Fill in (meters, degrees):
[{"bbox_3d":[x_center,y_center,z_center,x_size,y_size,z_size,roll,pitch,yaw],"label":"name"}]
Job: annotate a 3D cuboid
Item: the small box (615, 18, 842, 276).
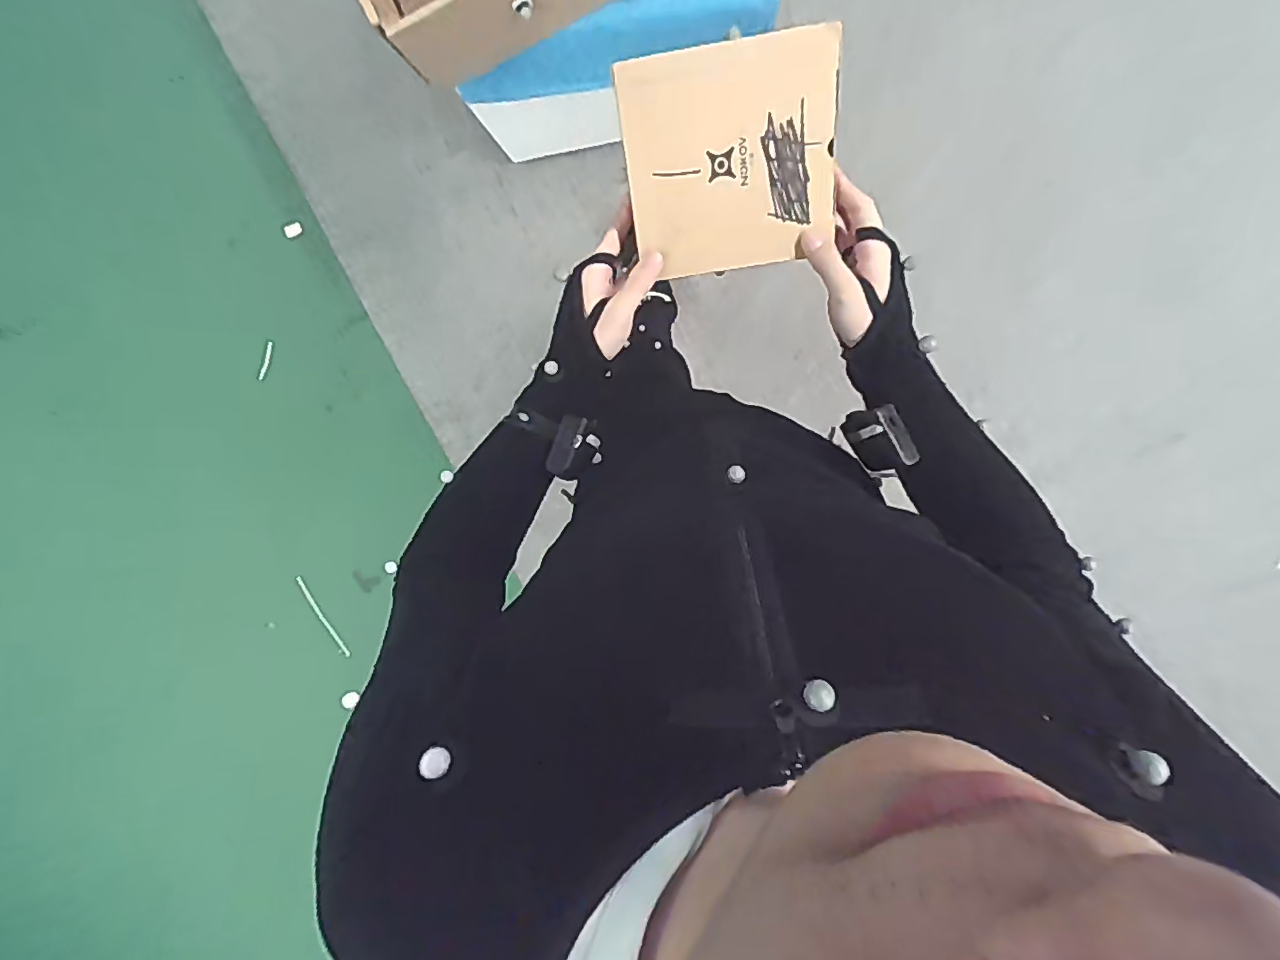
[{"bbox_3d":[0.077,-0.305,0.516,0.179,0.176,0.168,-6,118,6],"label":"small box"}]
